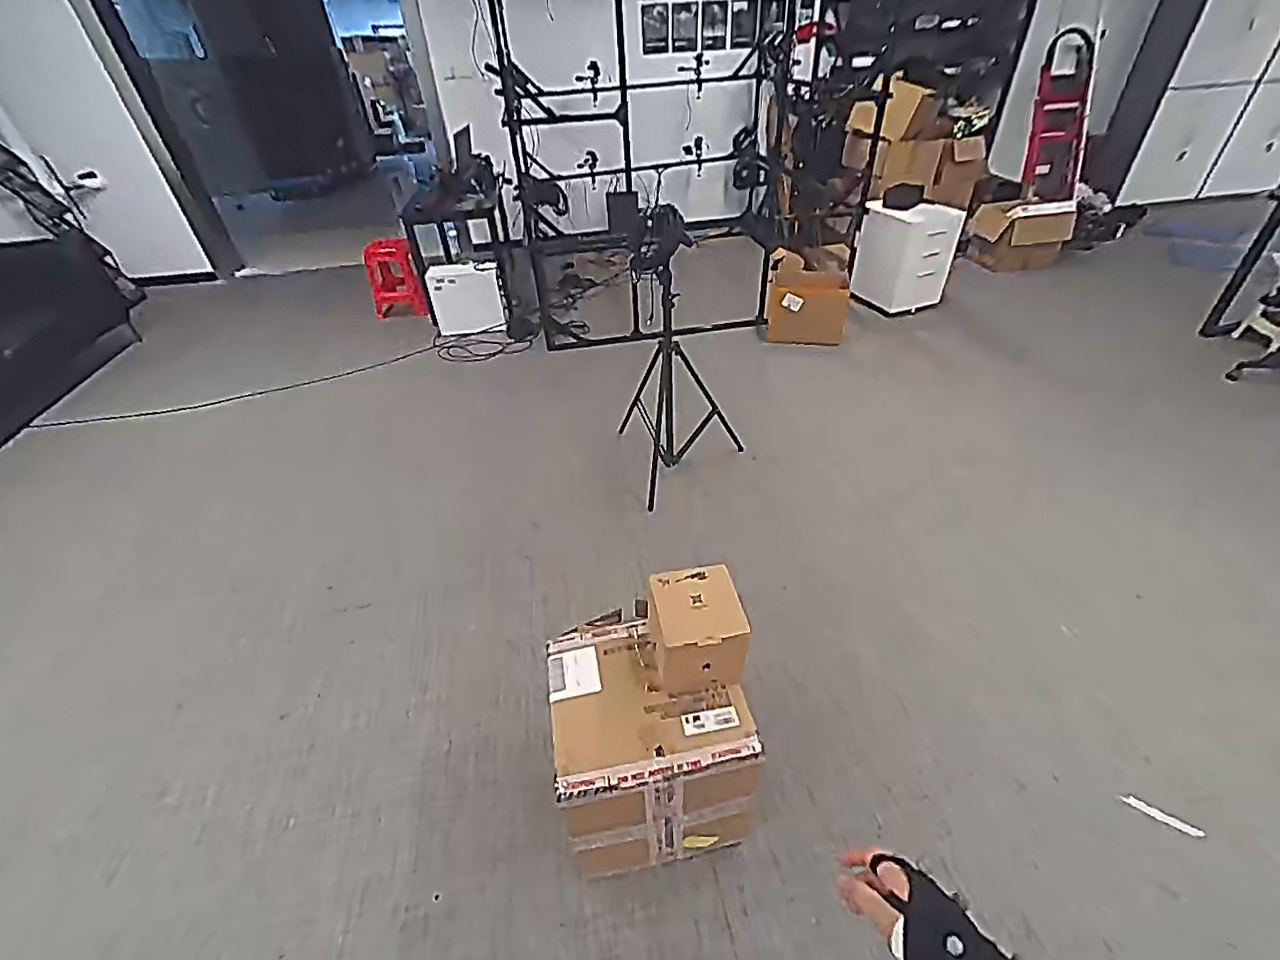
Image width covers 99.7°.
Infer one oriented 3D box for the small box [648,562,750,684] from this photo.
[{"bbox_3d":[0.113,0.296,1.102,0.168,0.176,0.179,-7,42,-8],"label":"small box"}]
